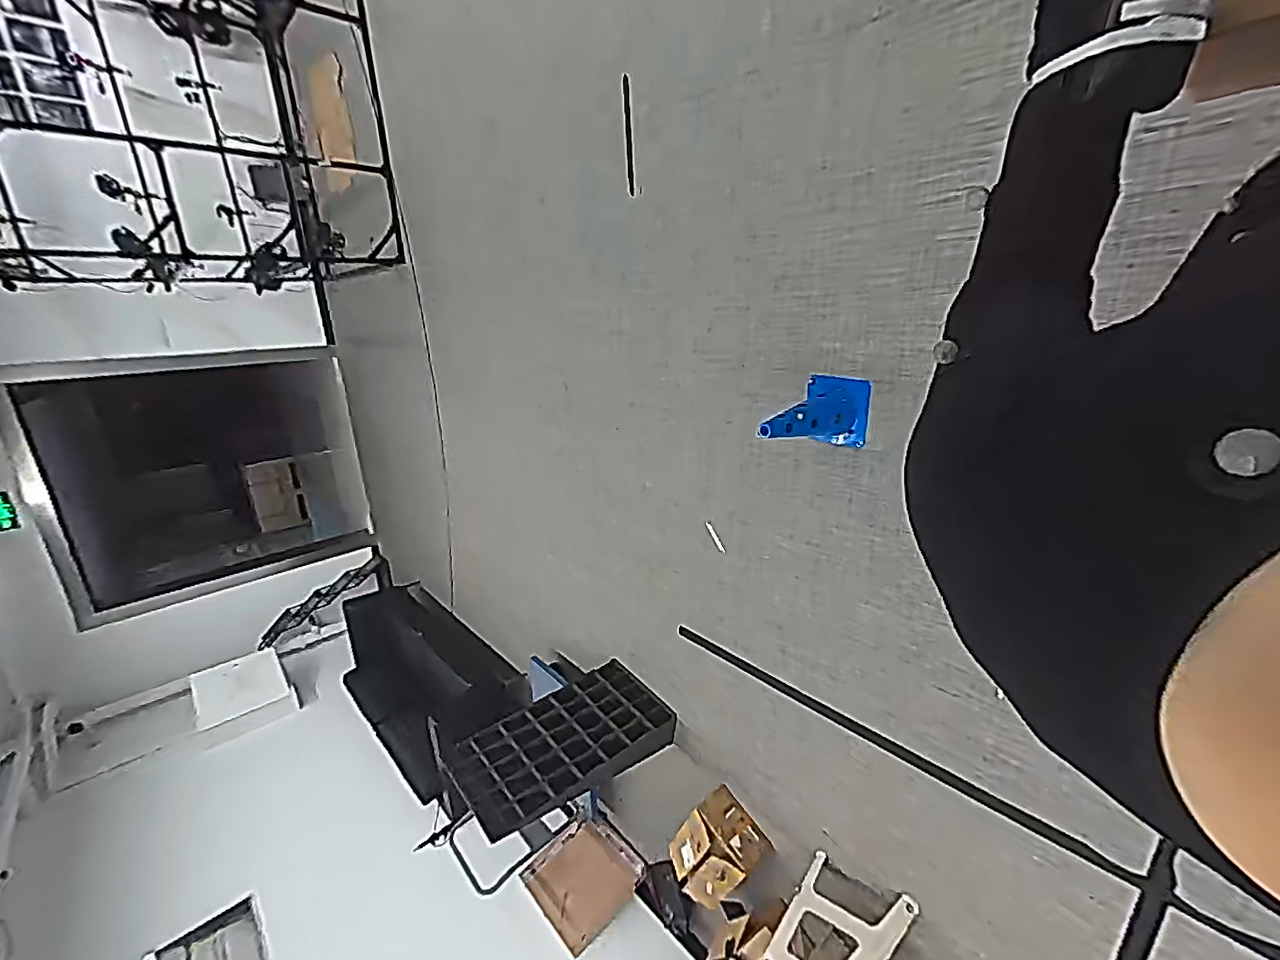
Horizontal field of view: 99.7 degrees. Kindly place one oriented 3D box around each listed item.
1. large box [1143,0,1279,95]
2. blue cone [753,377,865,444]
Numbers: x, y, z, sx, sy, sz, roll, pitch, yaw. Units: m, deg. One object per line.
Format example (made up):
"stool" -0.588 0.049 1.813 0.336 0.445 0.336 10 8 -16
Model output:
"large box" 0.563 -0.453 0.268 0.408 0.320 0.320 15 120 46
"blue cone" 0.461 -0.175 1.535 0.192 0.380 0.193 22 119 46
